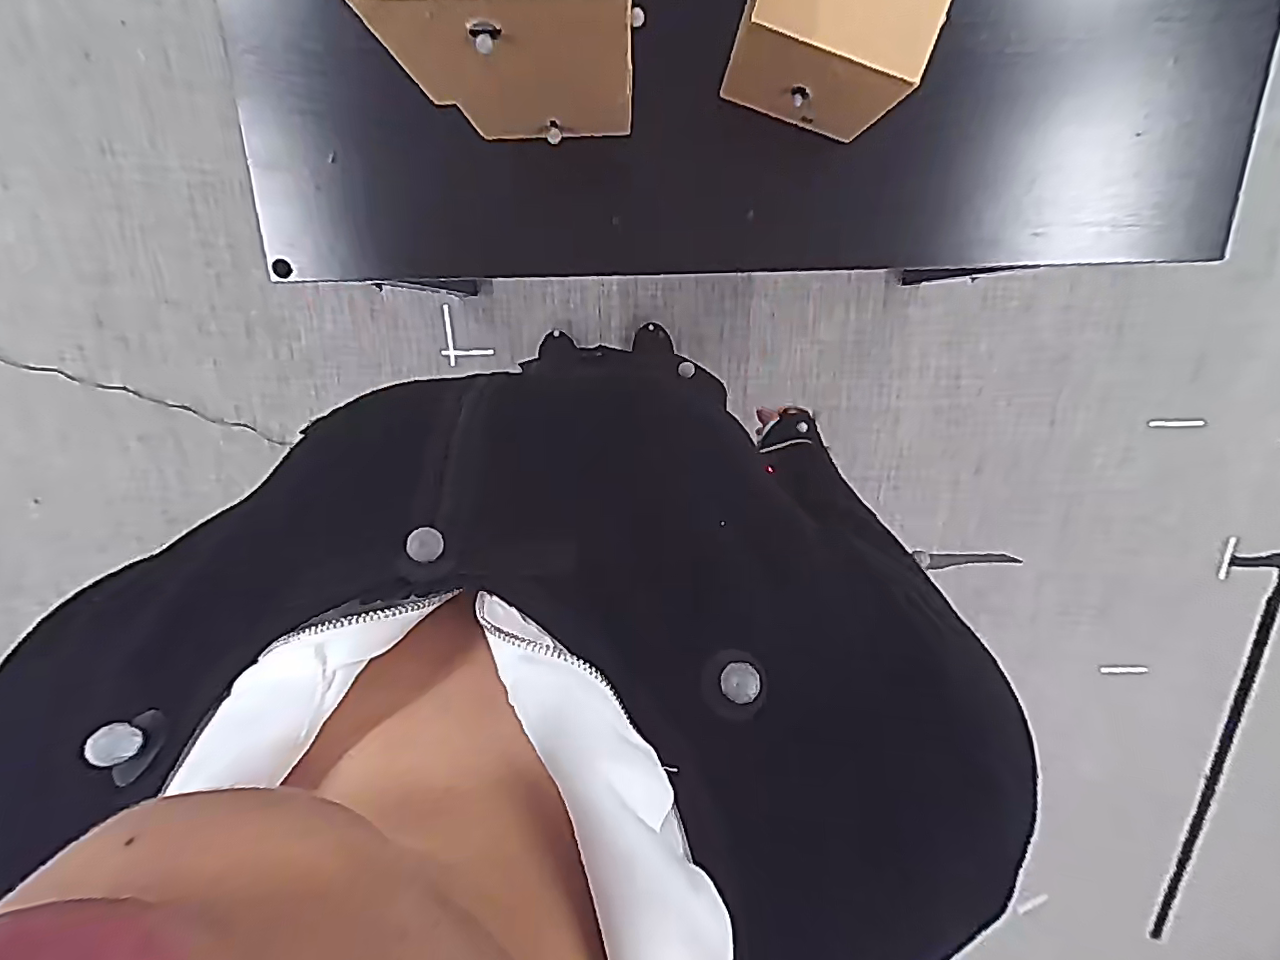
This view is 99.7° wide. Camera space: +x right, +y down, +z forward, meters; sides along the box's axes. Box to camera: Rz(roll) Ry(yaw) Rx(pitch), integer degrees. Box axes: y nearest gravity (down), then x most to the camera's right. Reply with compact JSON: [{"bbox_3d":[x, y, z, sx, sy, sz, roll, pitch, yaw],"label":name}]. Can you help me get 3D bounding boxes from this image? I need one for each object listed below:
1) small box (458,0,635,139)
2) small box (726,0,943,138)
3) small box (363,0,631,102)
[{"bbox_3d":[-0.098,-0.465,0.548,0.179,0.176,0.168,-2,106,-2],"label":"small box"},{"bbox_3d":[0.196,-0.486,0.548,0.168,0.176,0.179,16,104,-7],"label":"small box"},{"bbox_3d":[-0.096,-0.401,0.394,0.179,0.176,0.168,-2,106,-1],"label":"small box"}]
